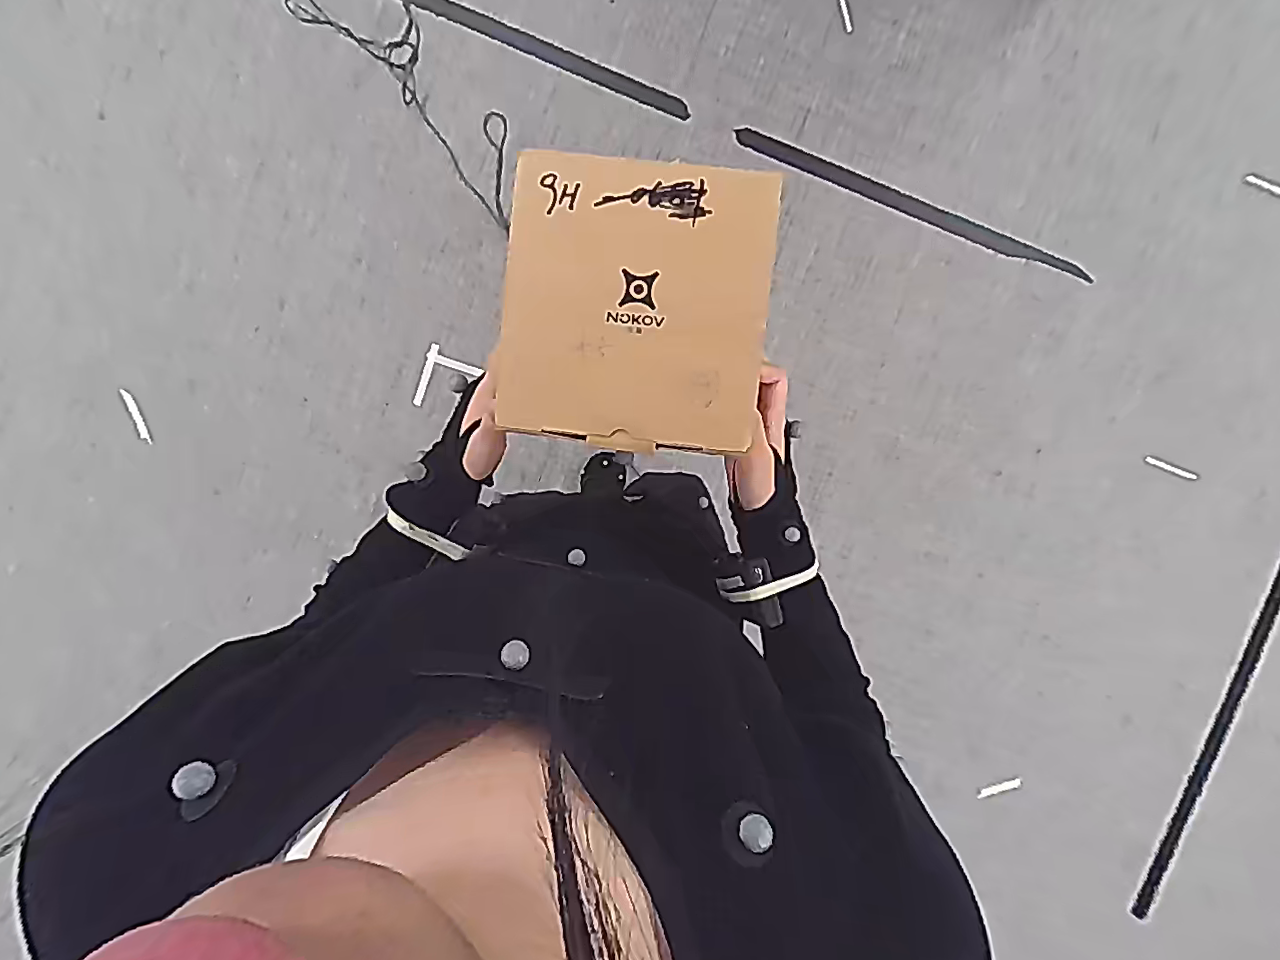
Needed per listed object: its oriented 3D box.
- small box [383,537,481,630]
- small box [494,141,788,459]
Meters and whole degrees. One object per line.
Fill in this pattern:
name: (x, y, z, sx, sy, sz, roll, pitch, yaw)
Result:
small box: (-0.524, 0.257, 1.389, 0.168, 0.176, 0.179, 18, 92, -2)
small box: (0.000, -0.115, 0.409, 0.168, 0.176, 0.179, 7, 94, 0)
